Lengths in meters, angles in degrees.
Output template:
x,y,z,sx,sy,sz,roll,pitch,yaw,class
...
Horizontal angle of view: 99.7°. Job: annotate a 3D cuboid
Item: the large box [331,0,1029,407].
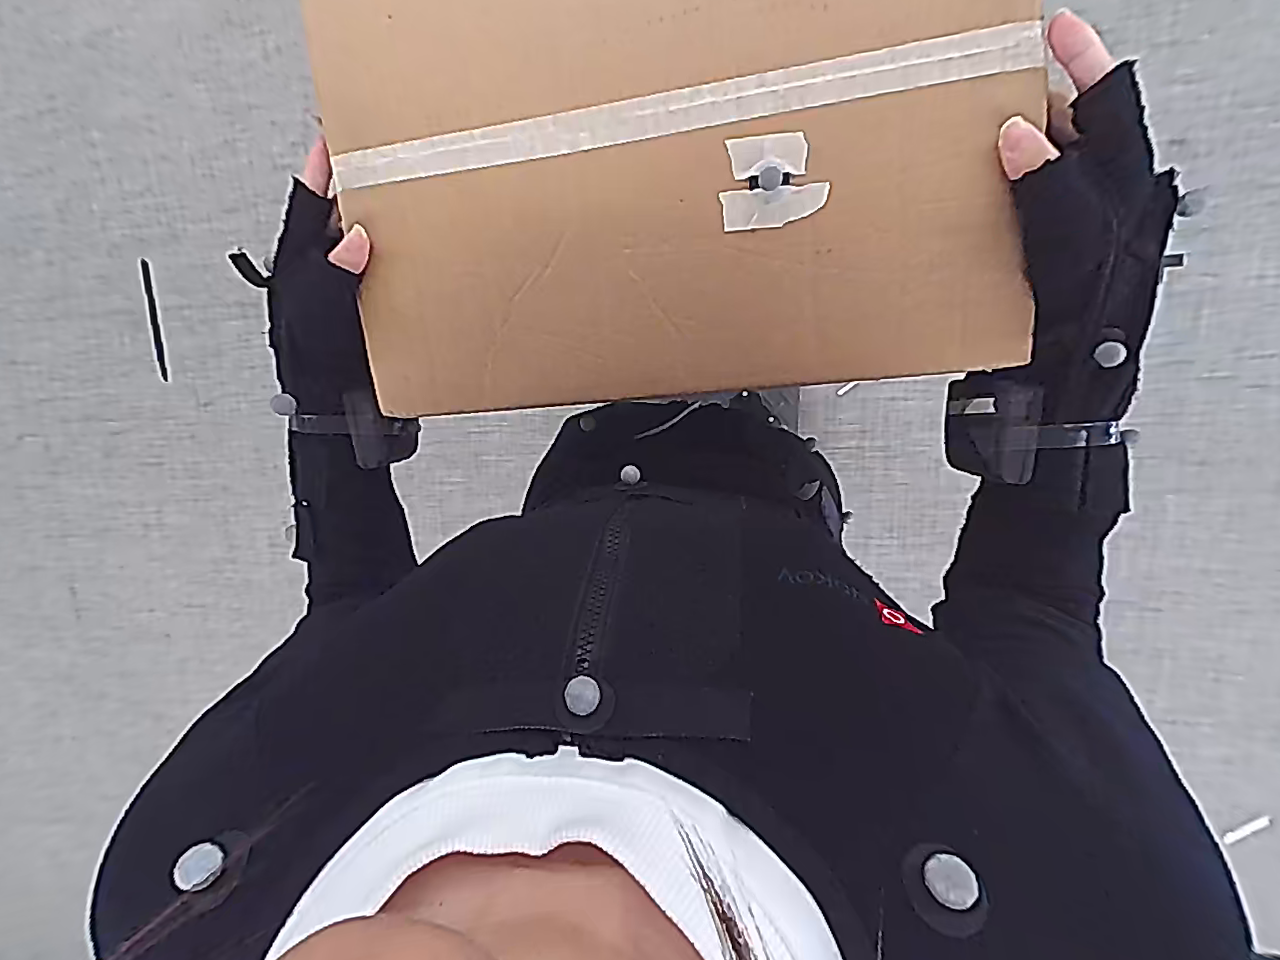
x,y,z,sx,sy,sz,roll,pitch,yaw,class
0.033,-0.245,0.465,0.408,0.320,0.320,-4,102,10,large box
